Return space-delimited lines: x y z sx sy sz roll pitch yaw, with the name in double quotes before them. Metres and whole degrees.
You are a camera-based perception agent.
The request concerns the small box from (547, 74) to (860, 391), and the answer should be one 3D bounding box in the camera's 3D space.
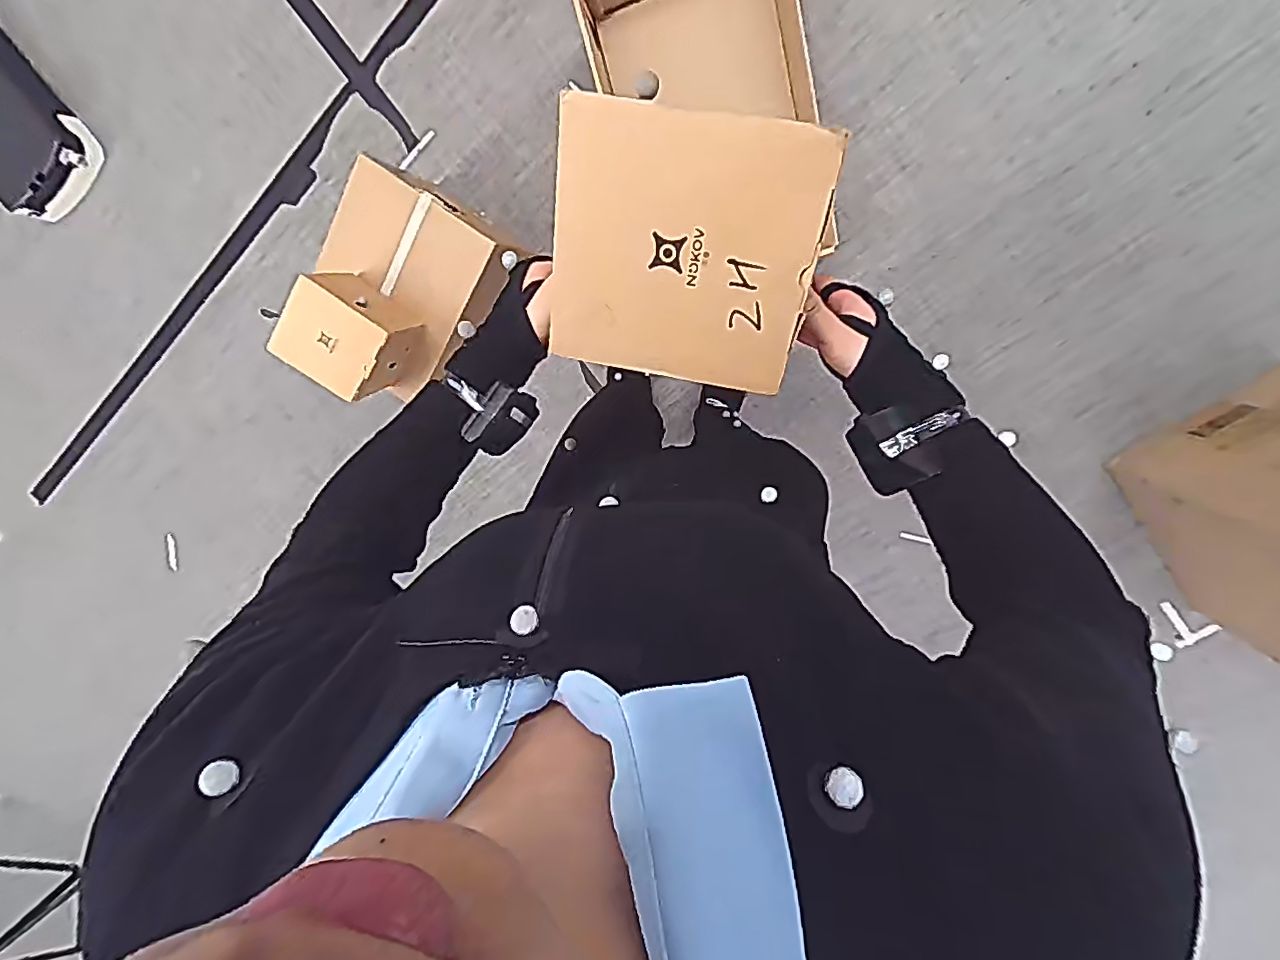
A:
"small box" 0.042 -0.188 0.418 0.179 0.176 0.168 12 121 4
